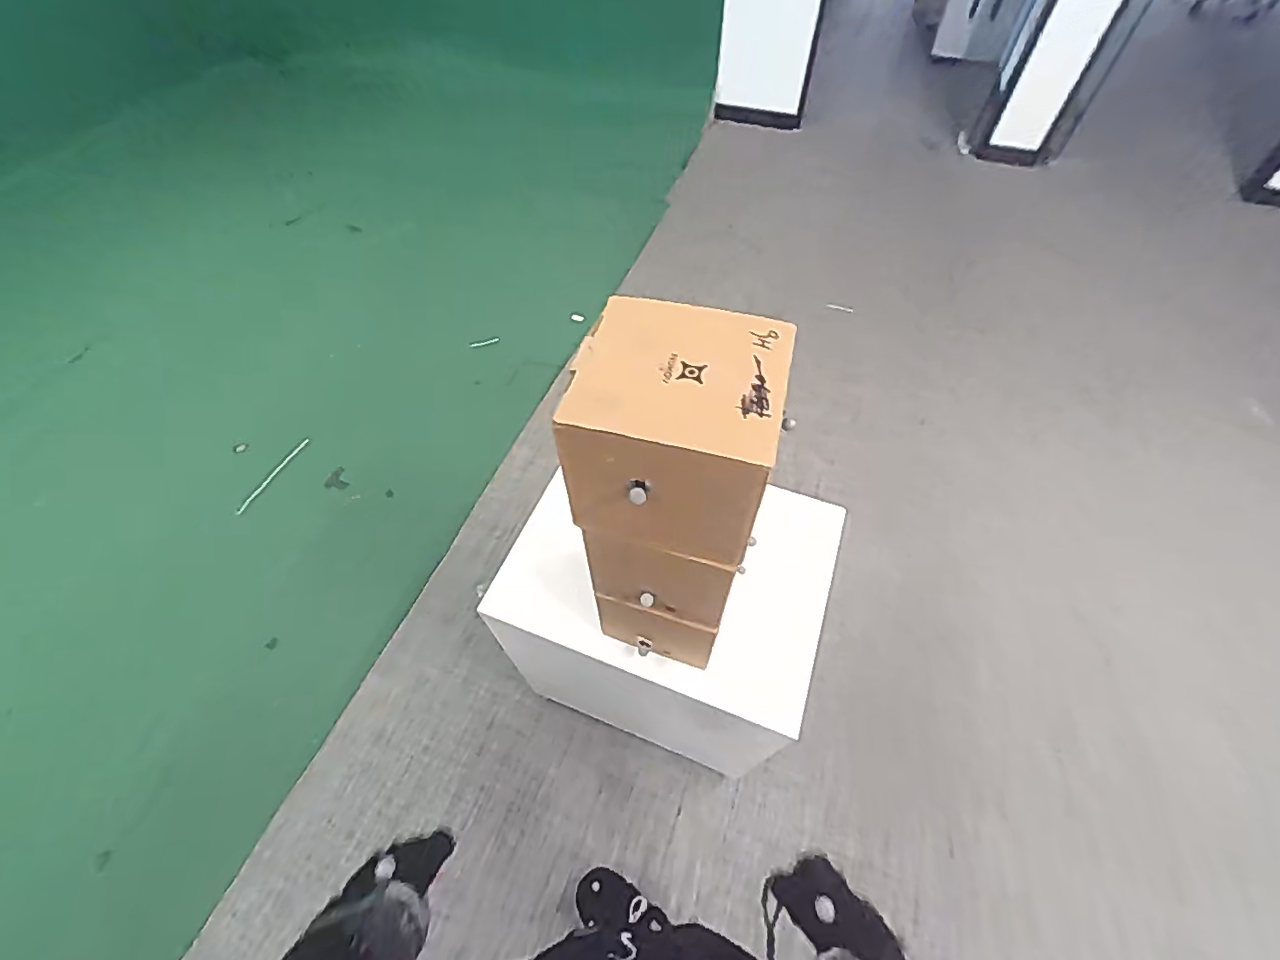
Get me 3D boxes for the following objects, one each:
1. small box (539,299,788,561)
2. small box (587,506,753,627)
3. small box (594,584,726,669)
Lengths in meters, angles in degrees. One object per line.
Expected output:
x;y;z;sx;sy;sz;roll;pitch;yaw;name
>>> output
0.029;-0.042;0.511;0.179;0.176;0.168;12;57;11;small box
0.042;0.048;0.647;0.168;0.176;0.179;12;55;10;small box
0.046;0.146;0.778;0.168;0.176;0.179;14;58;12;small box
